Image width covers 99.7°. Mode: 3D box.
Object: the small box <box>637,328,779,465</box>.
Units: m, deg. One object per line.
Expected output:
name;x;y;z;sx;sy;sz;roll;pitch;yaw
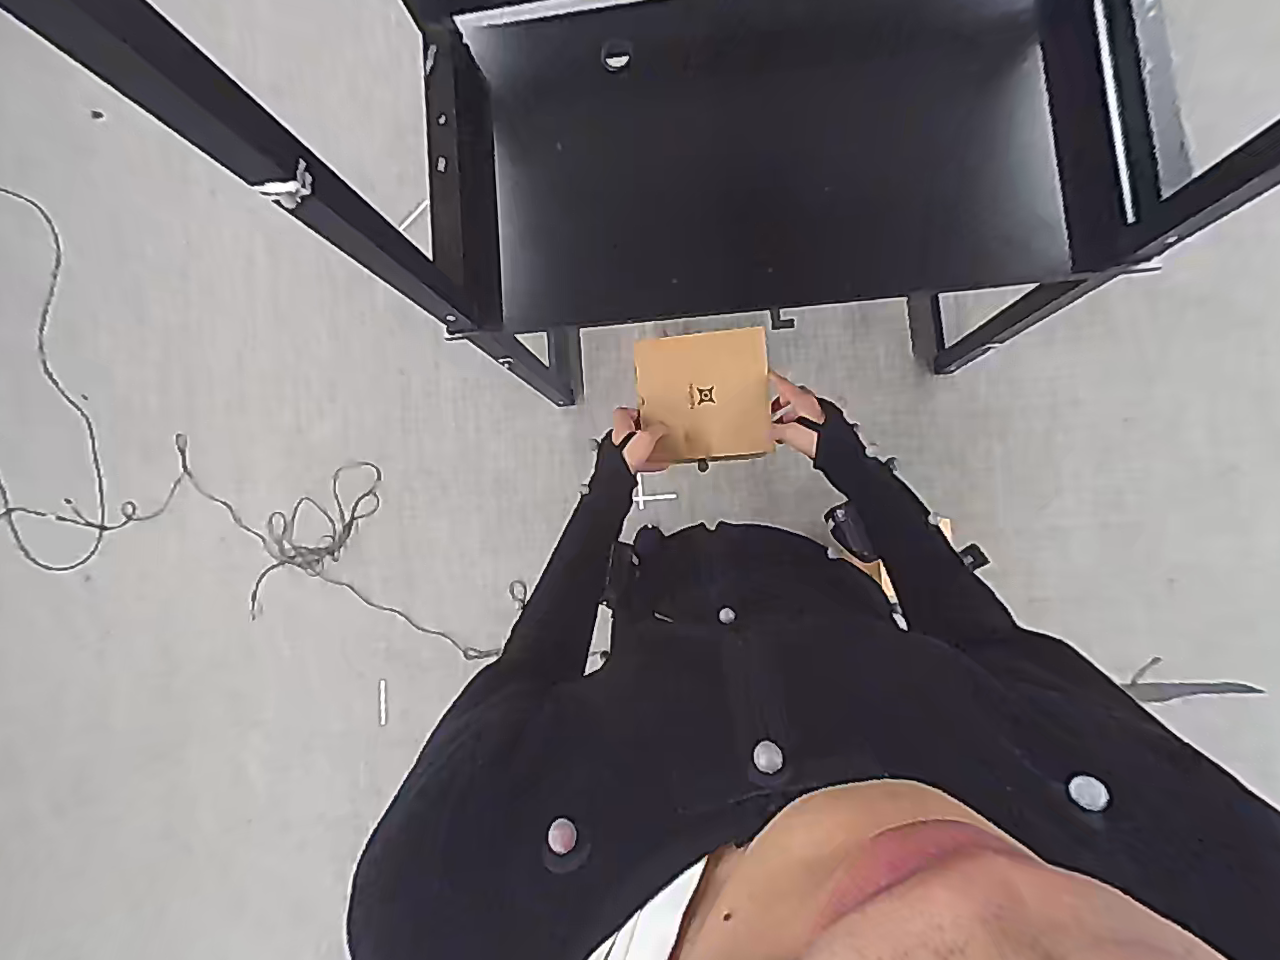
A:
small box;0.098;-0.110;0.782;0.179;0.176;0.168;-5;89;9

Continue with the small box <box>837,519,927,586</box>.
small box;0.661;0.195;1.492;0.179;0.176;0.168;-6;85;7
